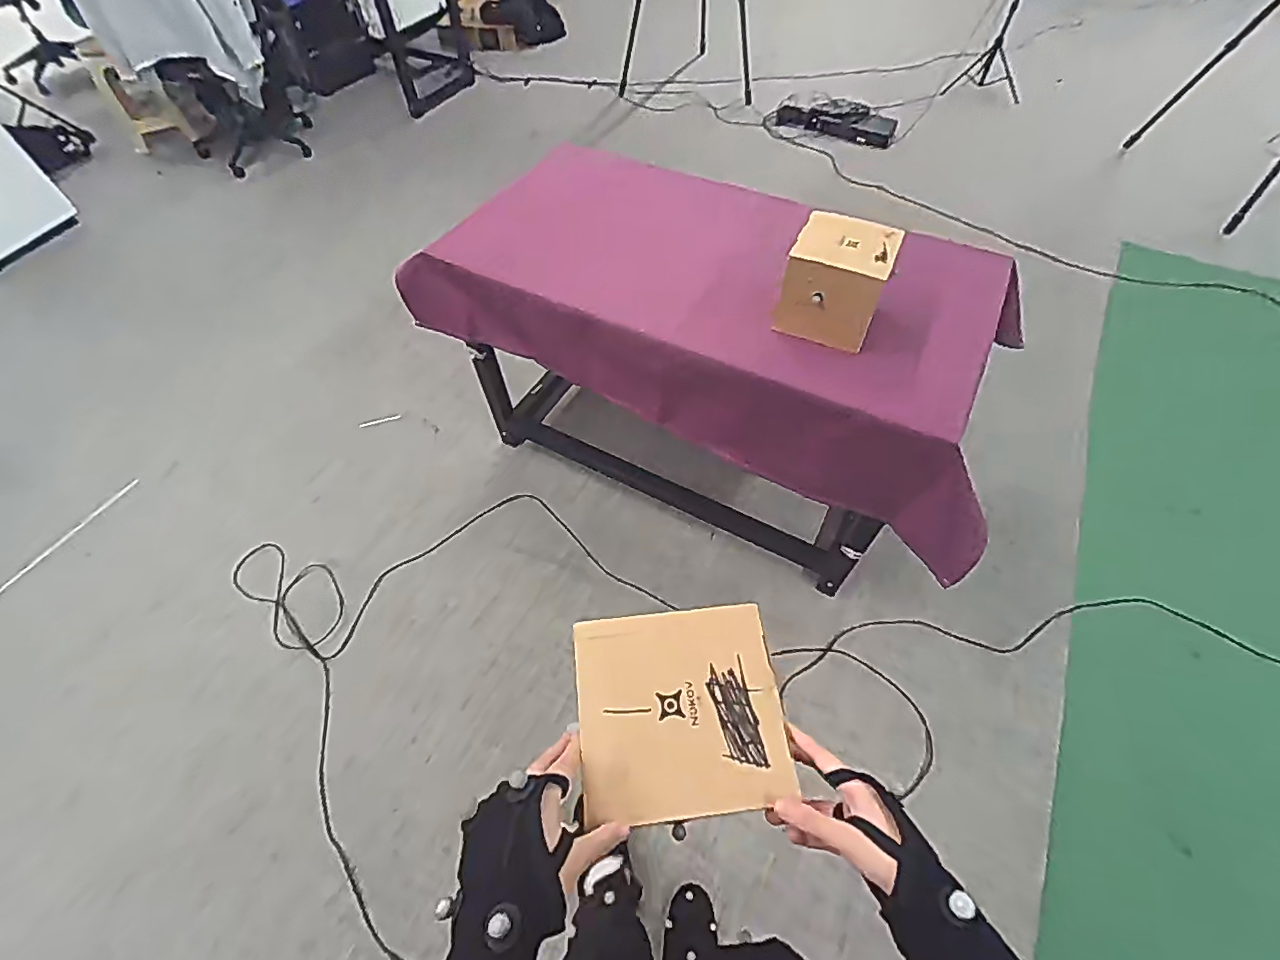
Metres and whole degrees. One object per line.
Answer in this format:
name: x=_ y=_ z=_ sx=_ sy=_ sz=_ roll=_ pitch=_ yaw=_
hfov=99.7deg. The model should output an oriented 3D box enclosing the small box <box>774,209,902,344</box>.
small box: x=0.373 y=-0.388 z=1.043 sx=0.179 sy=0.176 sz=0.168 roll=21 pitch=59 yaw=16
